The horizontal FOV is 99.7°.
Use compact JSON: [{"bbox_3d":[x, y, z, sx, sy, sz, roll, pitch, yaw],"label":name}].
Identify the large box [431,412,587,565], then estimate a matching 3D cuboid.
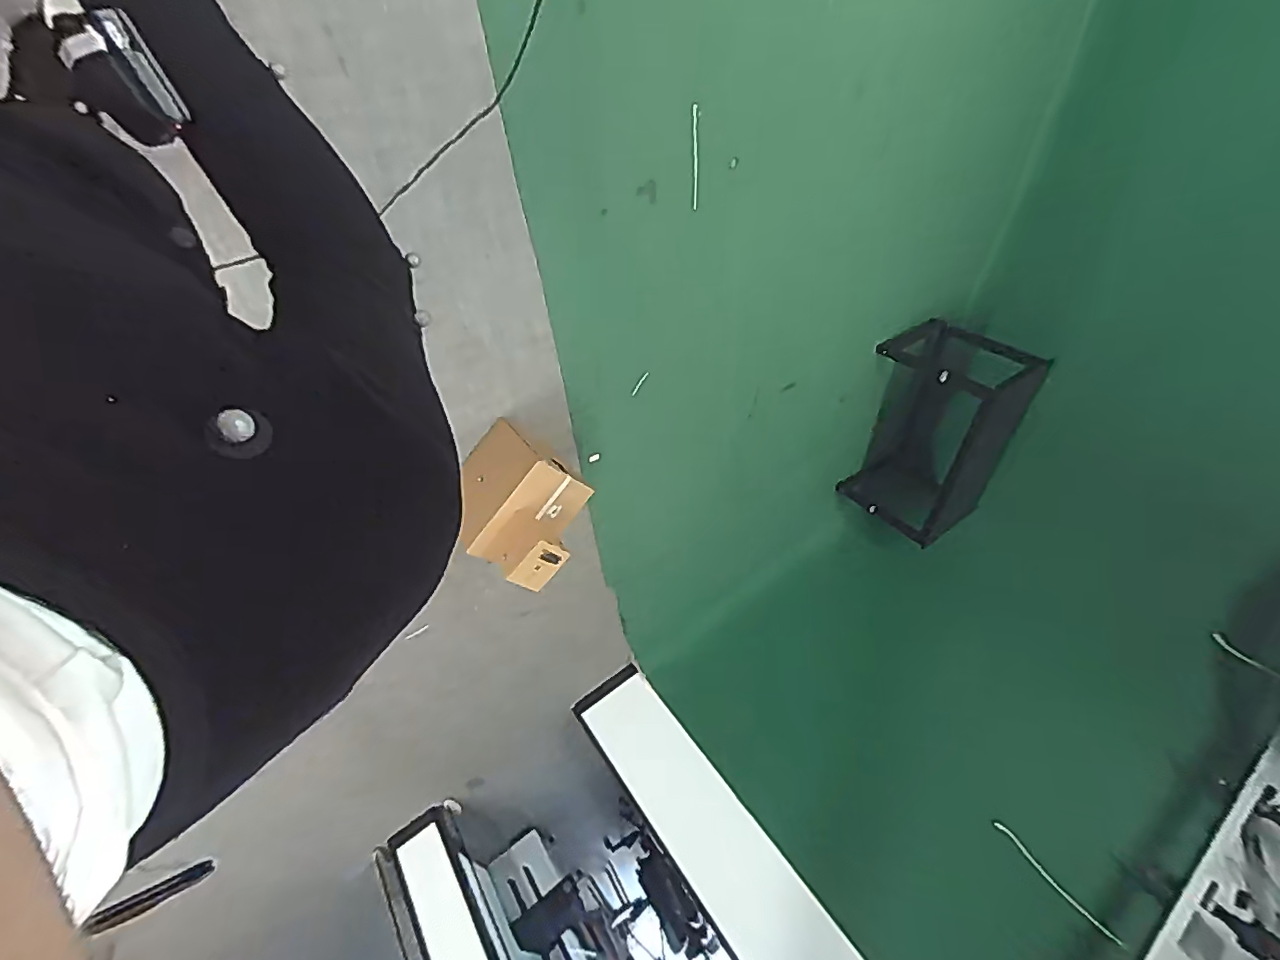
[{"bbox_3d":[-0.479,0.036,1.972,0.408,0.320,0.320,-51,143,4],"label":"large box"}]
